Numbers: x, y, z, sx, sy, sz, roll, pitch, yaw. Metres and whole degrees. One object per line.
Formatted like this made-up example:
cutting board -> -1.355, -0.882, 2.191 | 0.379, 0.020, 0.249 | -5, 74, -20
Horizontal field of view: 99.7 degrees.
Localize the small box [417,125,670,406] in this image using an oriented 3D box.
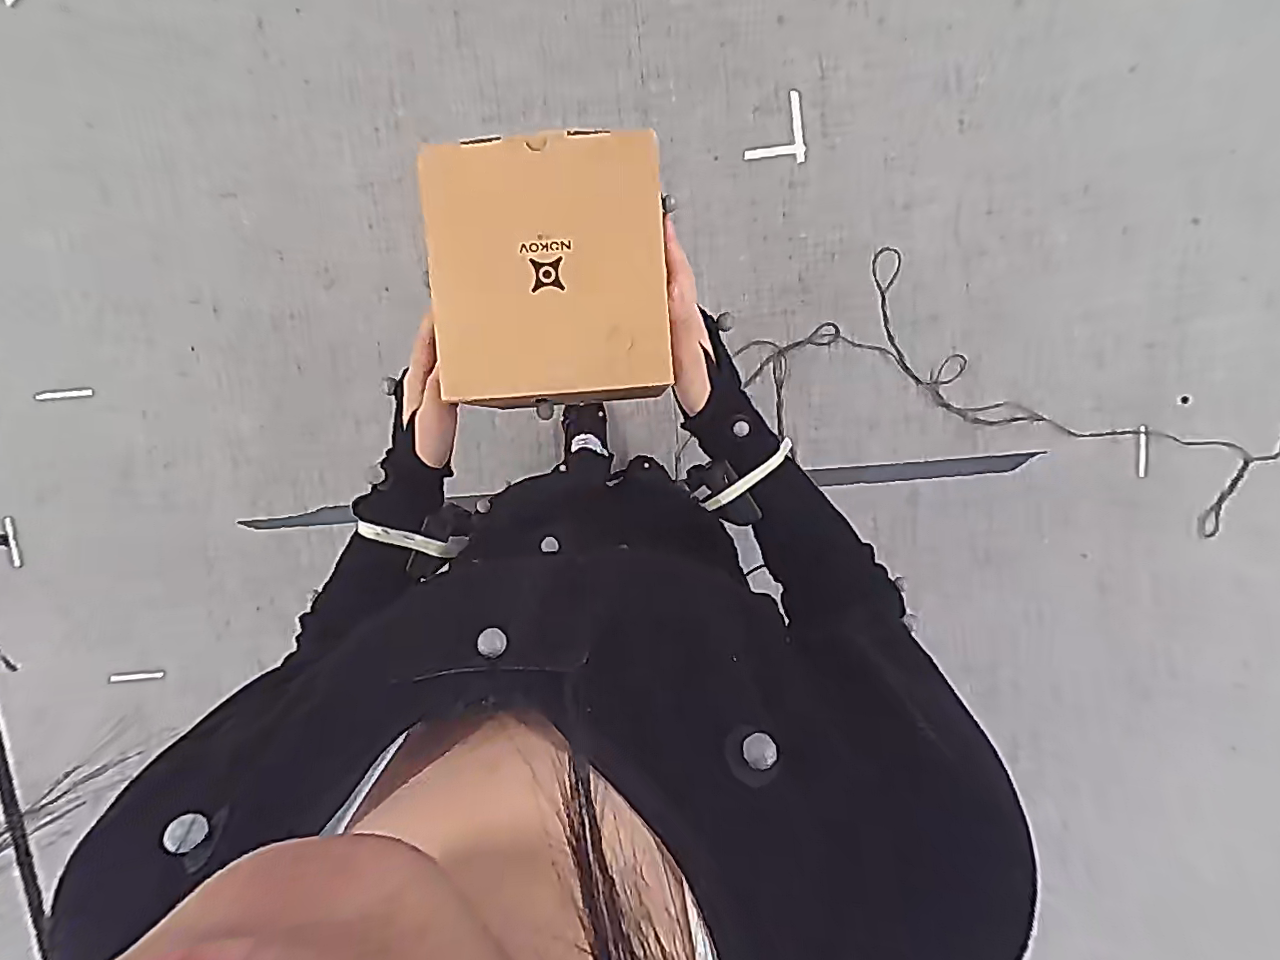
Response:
small box -> -0.063, -0.154, 0.452 | 0.168, 0.176, 0.179 | -5, 95, 0
